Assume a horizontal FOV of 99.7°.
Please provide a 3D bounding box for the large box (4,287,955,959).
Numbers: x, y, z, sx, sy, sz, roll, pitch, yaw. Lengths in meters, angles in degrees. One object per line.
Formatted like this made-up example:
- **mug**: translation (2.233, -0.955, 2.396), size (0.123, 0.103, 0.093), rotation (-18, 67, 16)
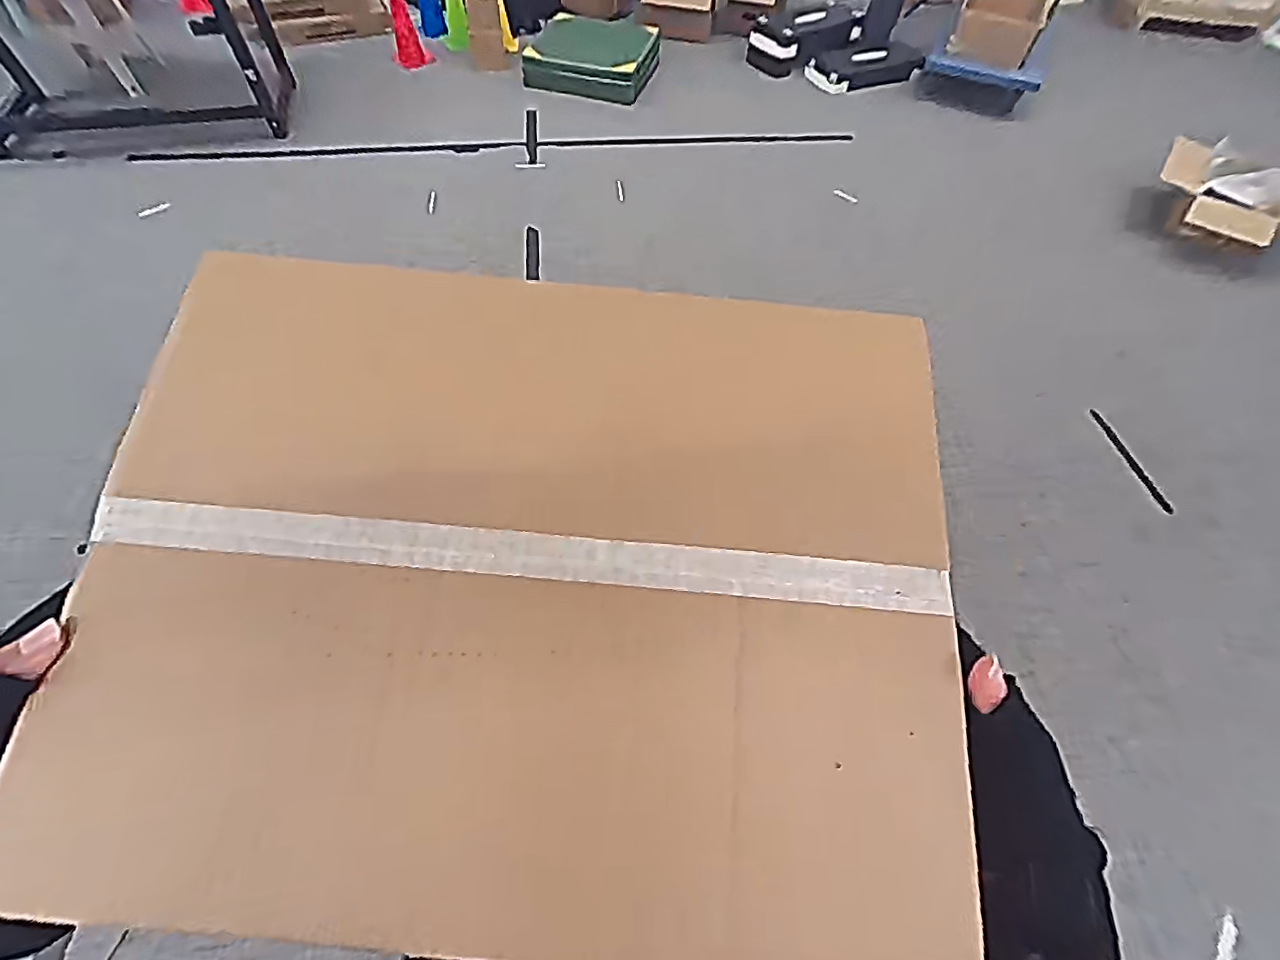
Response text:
- **large box**: translation (-0.060, 0.092, 0.411), size (0.408, 0.320, 0.320), rotation (5, 72, 0)
